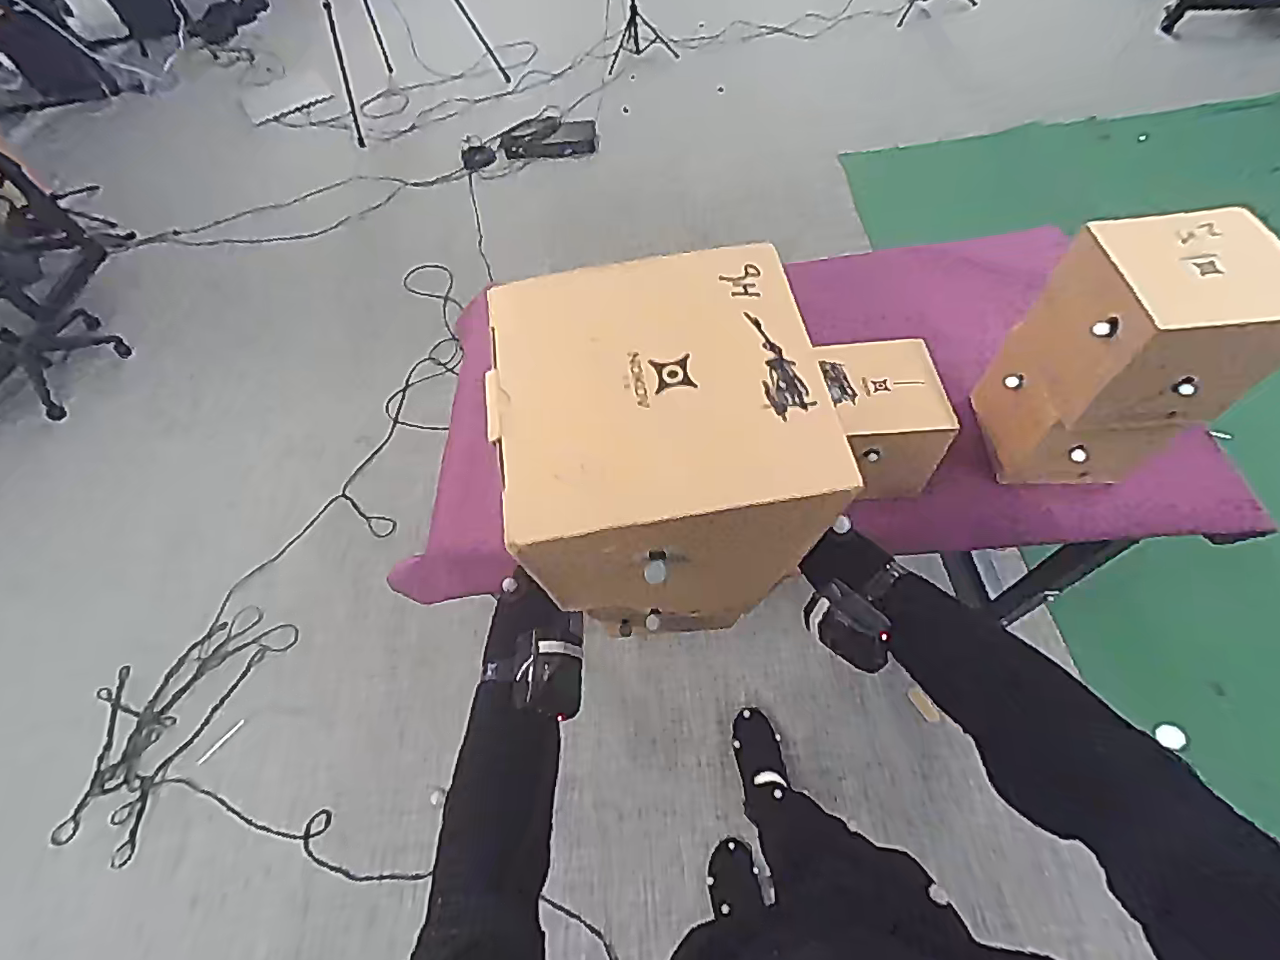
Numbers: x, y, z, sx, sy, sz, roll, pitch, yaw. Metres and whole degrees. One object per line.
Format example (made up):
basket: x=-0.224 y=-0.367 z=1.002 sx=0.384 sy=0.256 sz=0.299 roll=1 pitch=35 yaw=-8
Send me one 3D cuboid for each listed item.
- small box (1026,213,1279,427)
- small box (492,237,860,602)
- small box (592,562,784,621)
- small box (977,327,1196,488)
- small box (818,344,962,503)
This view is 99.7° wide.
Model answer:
small box: x=0.595 y=-0.173 z=0.624 sx=0.168 sy=0.176 sz=0.179 roll=-3 pitch=58 yaw=6
small box: x=0.014 y=-0.025 z=0.362 sx=0.179 sy=0.176 sz=0.168 roll=-10 pitch=66 yaw=-1
small box: x=0.027 y=0.029 z=0.517 sx=0.168 sy=0.176 sz=0.179 roll=-3 pitch=66 yaw=1
small box: x=0.617 y=-0.100 z=0.772 sx=0.168 sy=0.176 sz=0.179 roll=0 pitch=58 yaw=8
small box: x=0.328 y=-0.076 z=0.793 sx=0.179 sy=0.176 sz=0.168 roll=-3 pitch=57 yaw=4
